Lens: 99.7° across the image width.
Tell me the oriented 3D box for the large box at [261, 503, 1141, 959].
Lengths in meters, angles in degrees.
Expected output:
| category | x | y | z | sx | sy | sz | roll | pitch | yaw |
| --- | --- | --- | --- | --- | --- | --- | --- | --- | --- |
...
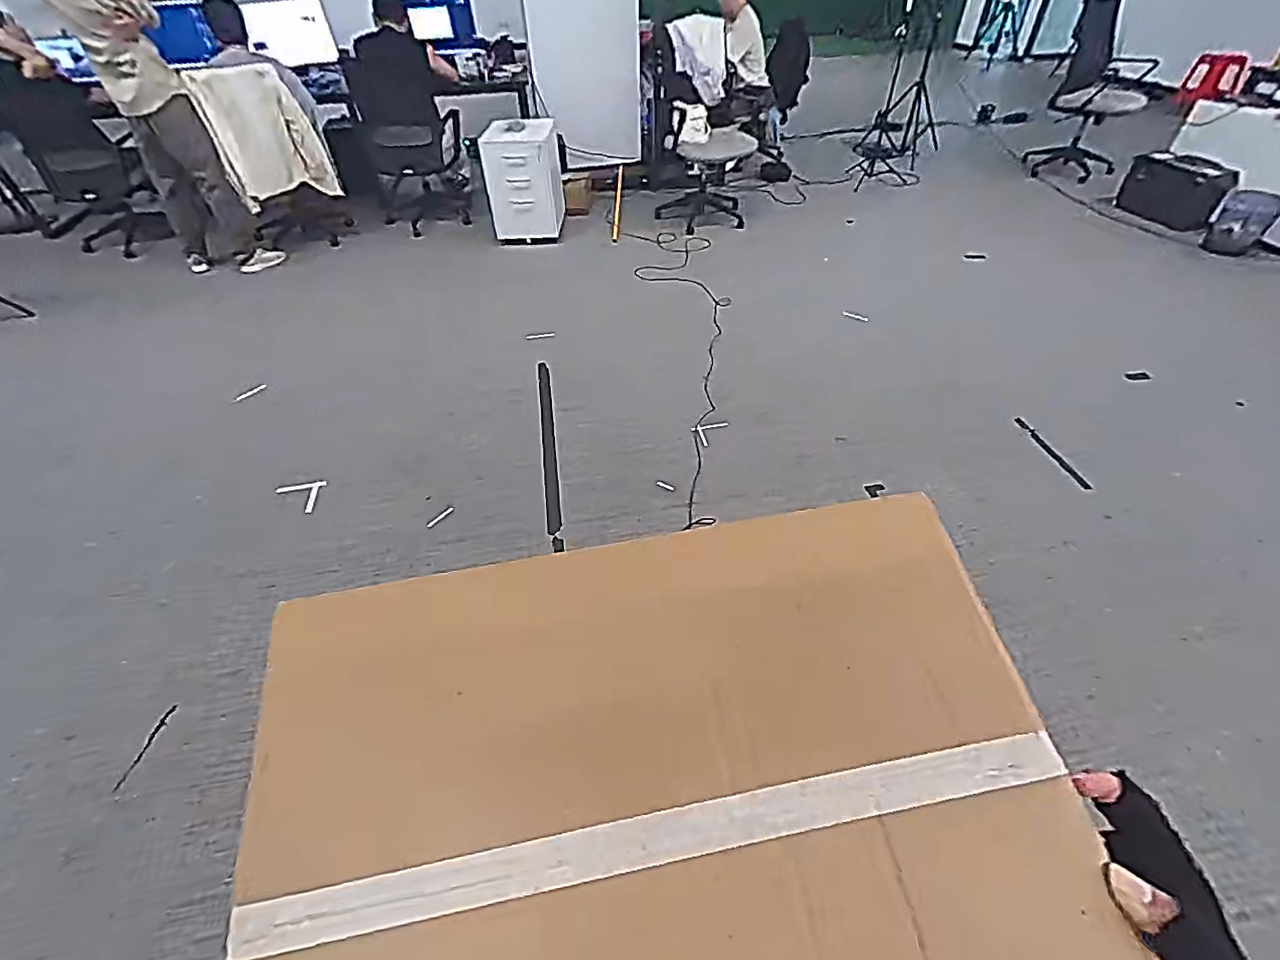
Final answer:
| category | x | y | z | sx | sy | sz | roll | pitch | yaw |
| --- | --- | --- | --- | --- | --- | --- | --- | --- | --- |
| large box | 0.018 | 0.253 | 0.401 | 0.408 | 0.320 | 0.320 | -10 | 62 | -4 |
